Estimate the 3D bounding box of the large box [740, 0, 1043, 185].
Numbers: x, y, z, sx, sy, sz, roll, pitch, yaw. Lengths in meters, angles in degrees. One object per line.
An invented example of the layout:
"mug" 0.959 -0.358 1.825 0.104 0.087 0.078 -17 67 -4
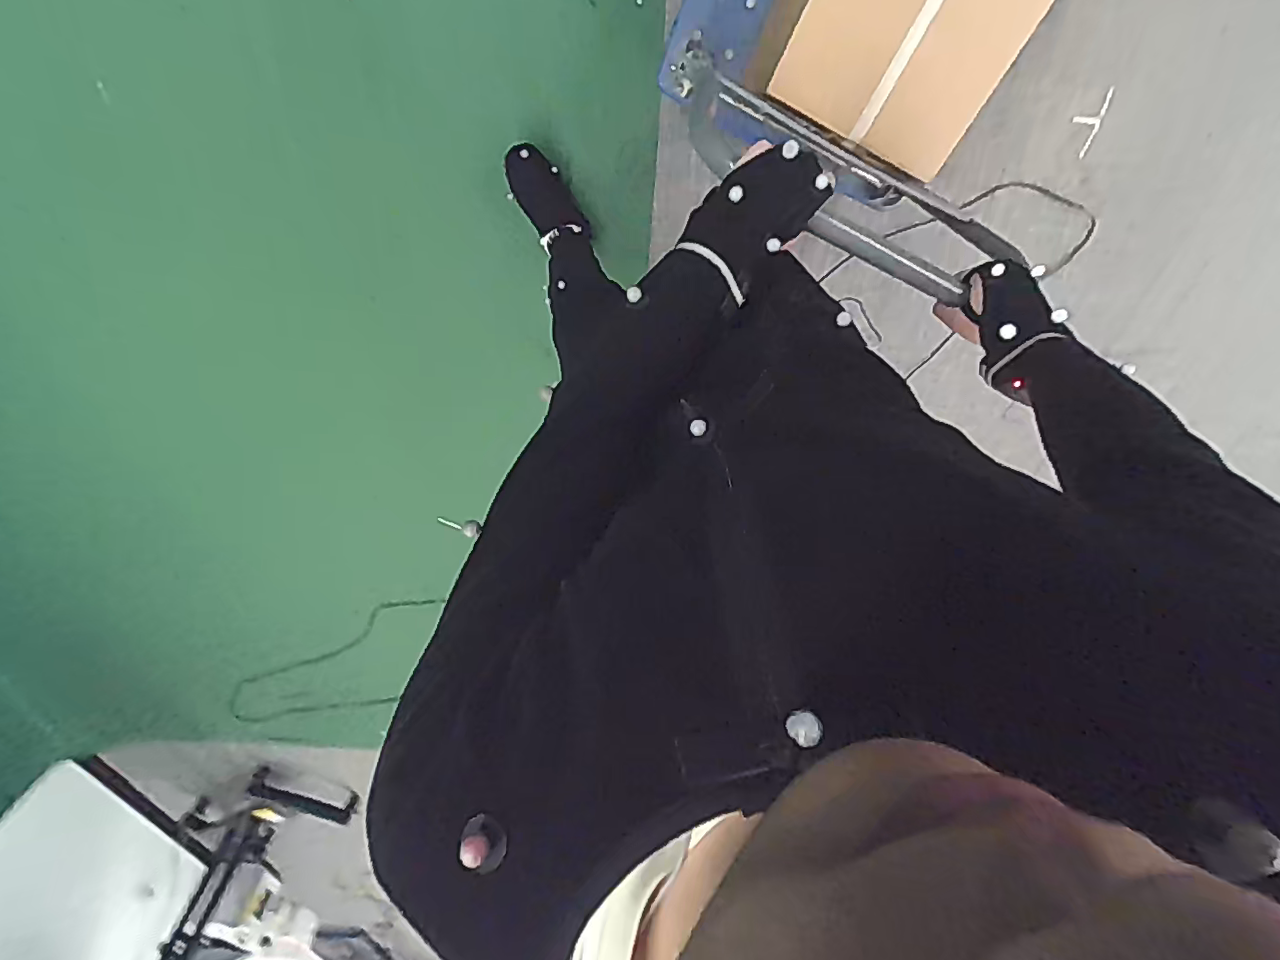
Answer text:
"large box" 0.402 -0.765 0.868 0.320 0.320 0.408 19 125 -14
